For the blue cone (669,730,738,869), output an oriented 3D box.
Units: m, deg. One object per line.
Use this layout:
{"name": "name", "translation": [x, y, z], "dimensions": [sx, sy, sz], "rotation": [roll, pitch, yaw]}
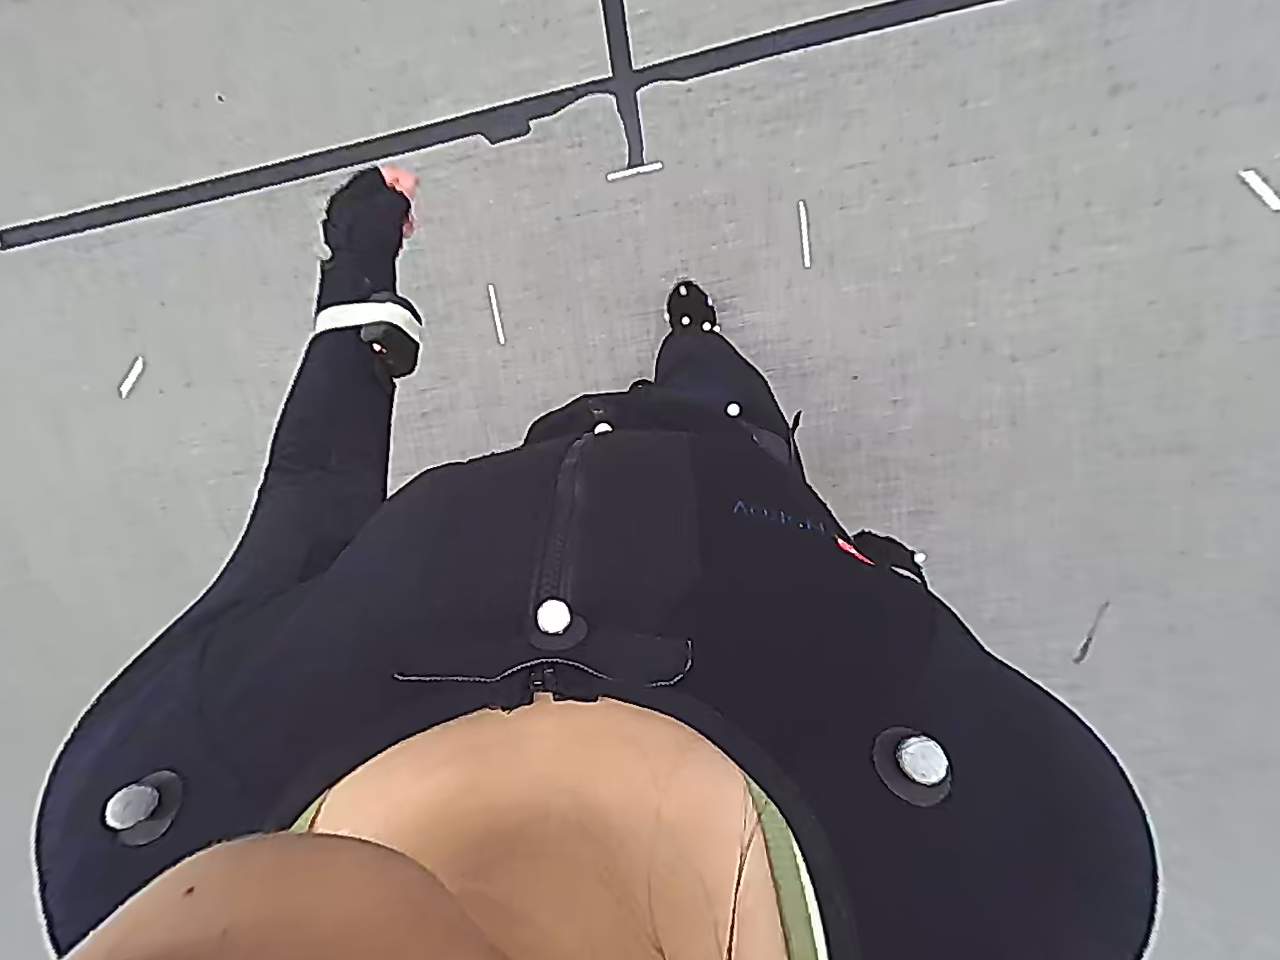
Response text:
{"name": "blue cone", "translation": [0.180, 0.882, 1.473], "dimensions": [0.193, 0.380, 0.192], "rotation": [-9, 102, 7]}
